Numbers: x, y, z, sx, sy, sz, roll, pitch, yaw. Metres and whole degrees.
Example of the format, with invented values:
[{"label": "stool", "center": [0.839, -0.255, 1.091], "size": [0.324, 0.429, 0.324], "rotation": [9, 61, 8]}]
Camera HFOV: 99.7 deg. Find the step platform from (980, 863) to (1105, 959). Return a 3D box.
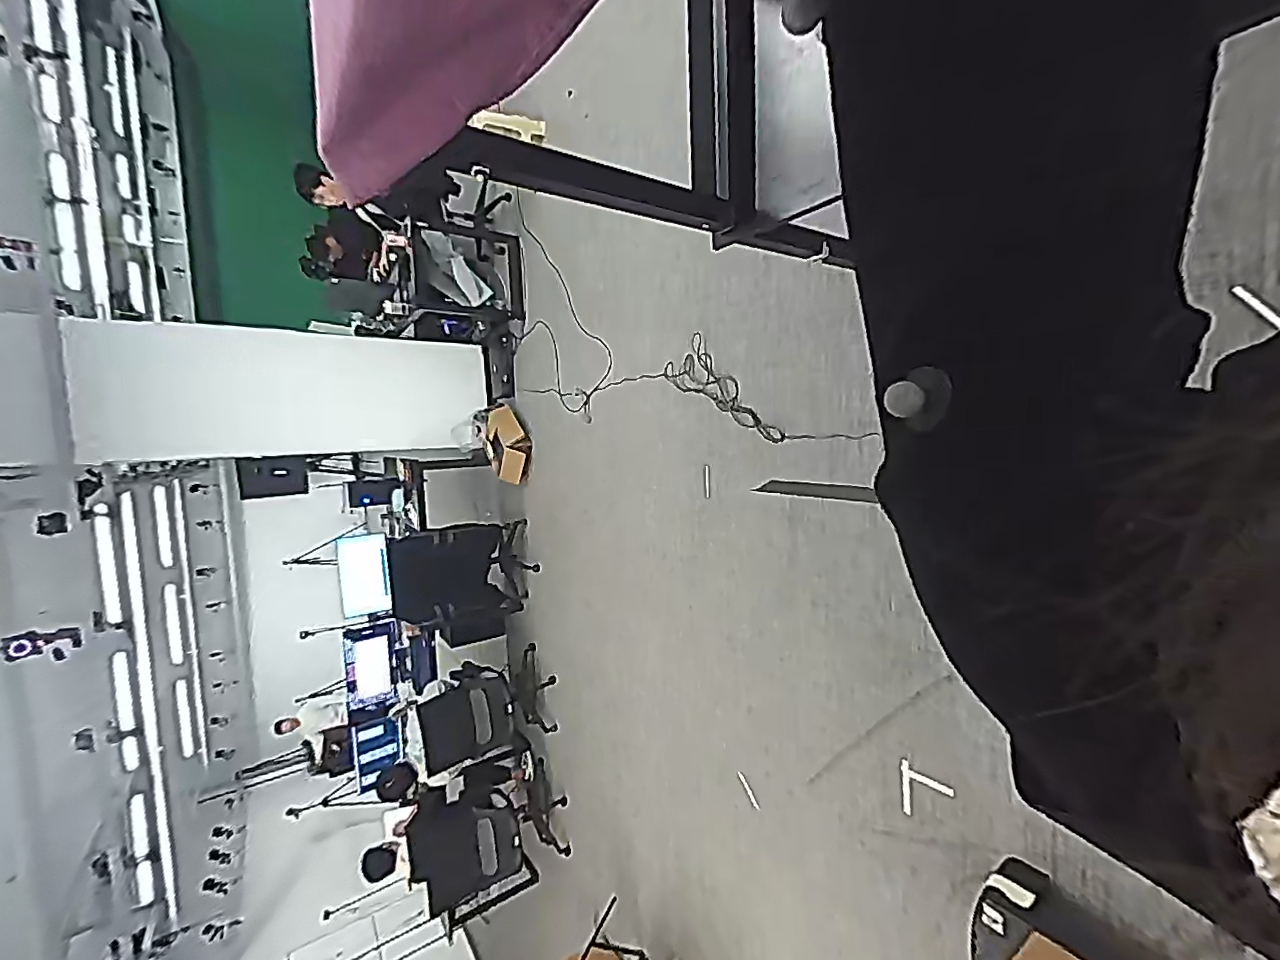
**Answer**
[{"label": "step platform", "center": [1.103, 1.181, 1.119], "size": [0.684, 0.204, 0.286], "rotation": [15, 107, 54]}]
